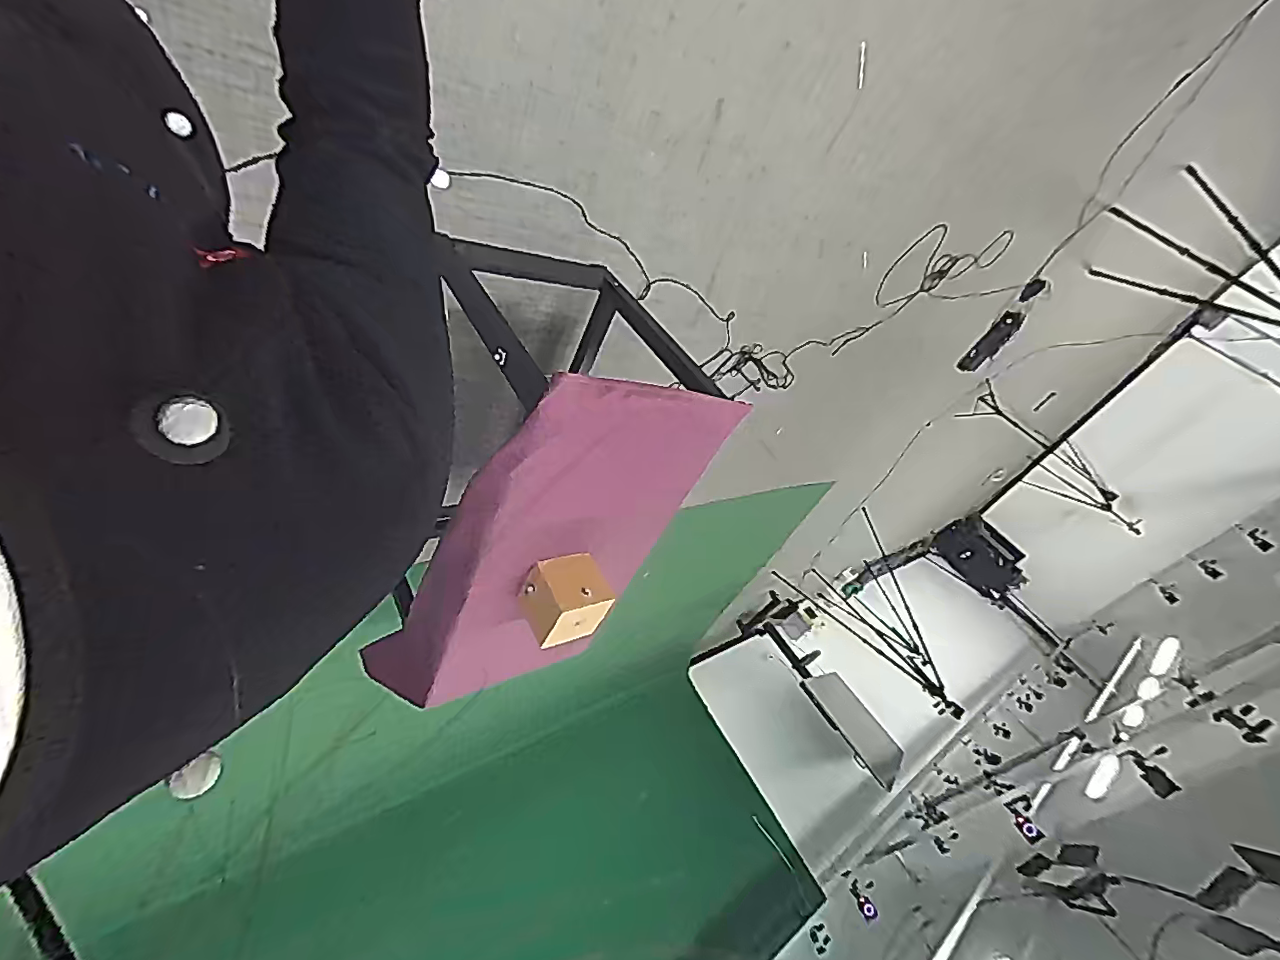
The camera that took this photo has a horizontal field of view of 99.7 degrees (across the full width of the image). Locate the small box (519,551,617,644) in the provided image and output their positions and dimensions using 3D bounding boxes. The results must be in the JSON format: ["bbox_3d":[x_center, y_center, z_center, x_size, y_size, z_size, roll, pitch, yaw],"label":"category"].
[{"bbox_3d":[-0.198,0.308,1.461,0.179,0.176,0.168,-3,136,-43],"label":"small box"}]
